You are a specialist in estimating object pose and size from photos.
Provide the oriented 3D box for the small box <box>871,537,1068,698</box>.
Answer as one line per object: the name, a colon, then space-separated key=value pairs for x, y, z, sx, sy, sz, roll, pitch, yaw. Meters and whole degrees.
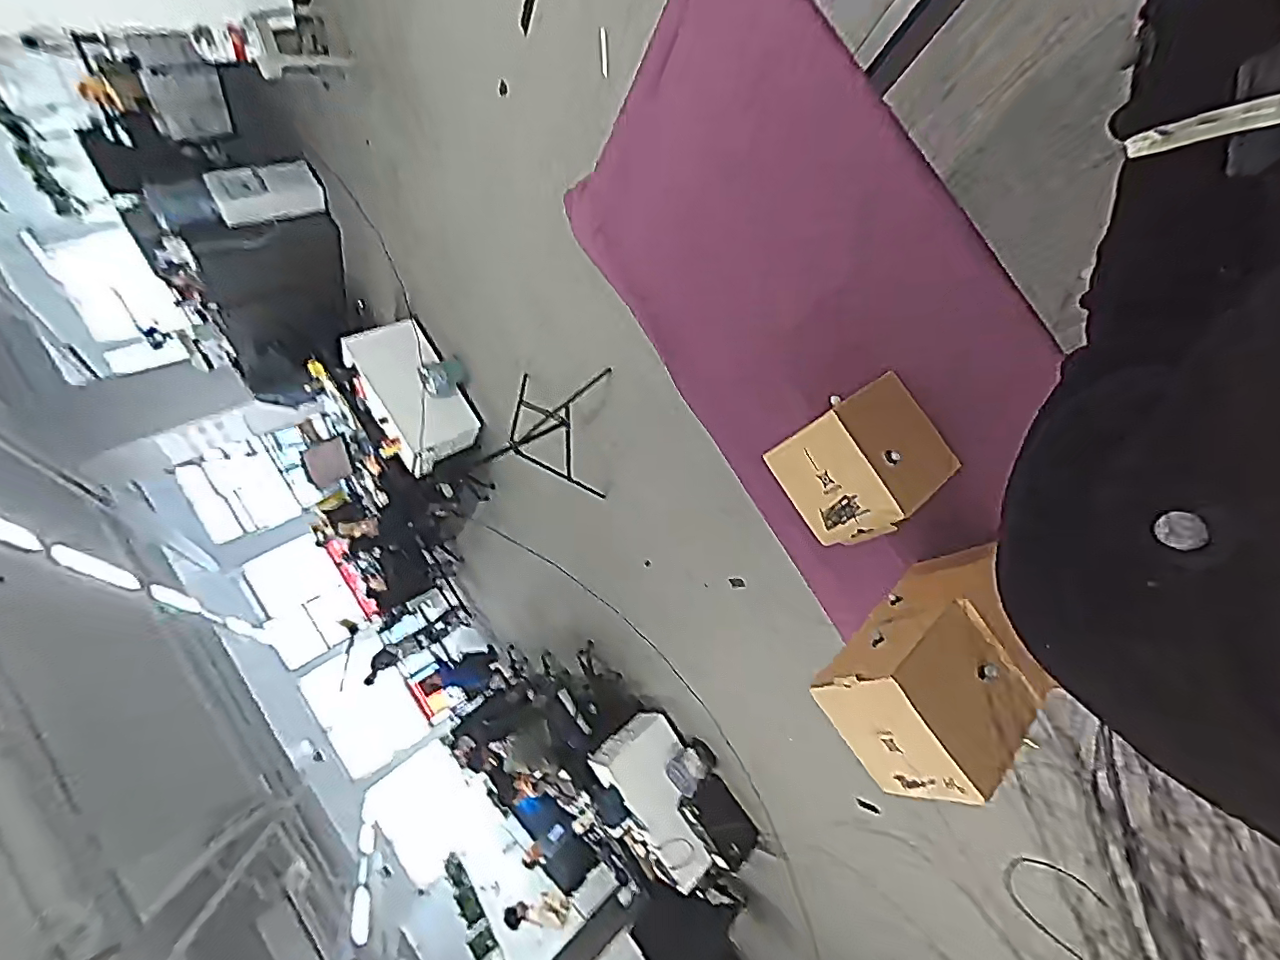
small box: x=0.499 y=0.208 z=0.816 sx=0.168 sy=0.176 sz=0.179 roll=55 pitch=150 yaw=6

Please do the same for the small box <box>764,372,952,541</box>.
small box: x=0.336 y=-0.036 z=0.835 sx=0.179 sy=0.176 sz=0.168 roll=57 pitch=149 yaw=5

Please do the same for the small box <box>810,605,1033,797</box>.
small box: x=0.379 y=0.288 z=0.738 sx=0.179 sy=0.176 sz=0.168 roll=55 pitch=150 yaw=8
